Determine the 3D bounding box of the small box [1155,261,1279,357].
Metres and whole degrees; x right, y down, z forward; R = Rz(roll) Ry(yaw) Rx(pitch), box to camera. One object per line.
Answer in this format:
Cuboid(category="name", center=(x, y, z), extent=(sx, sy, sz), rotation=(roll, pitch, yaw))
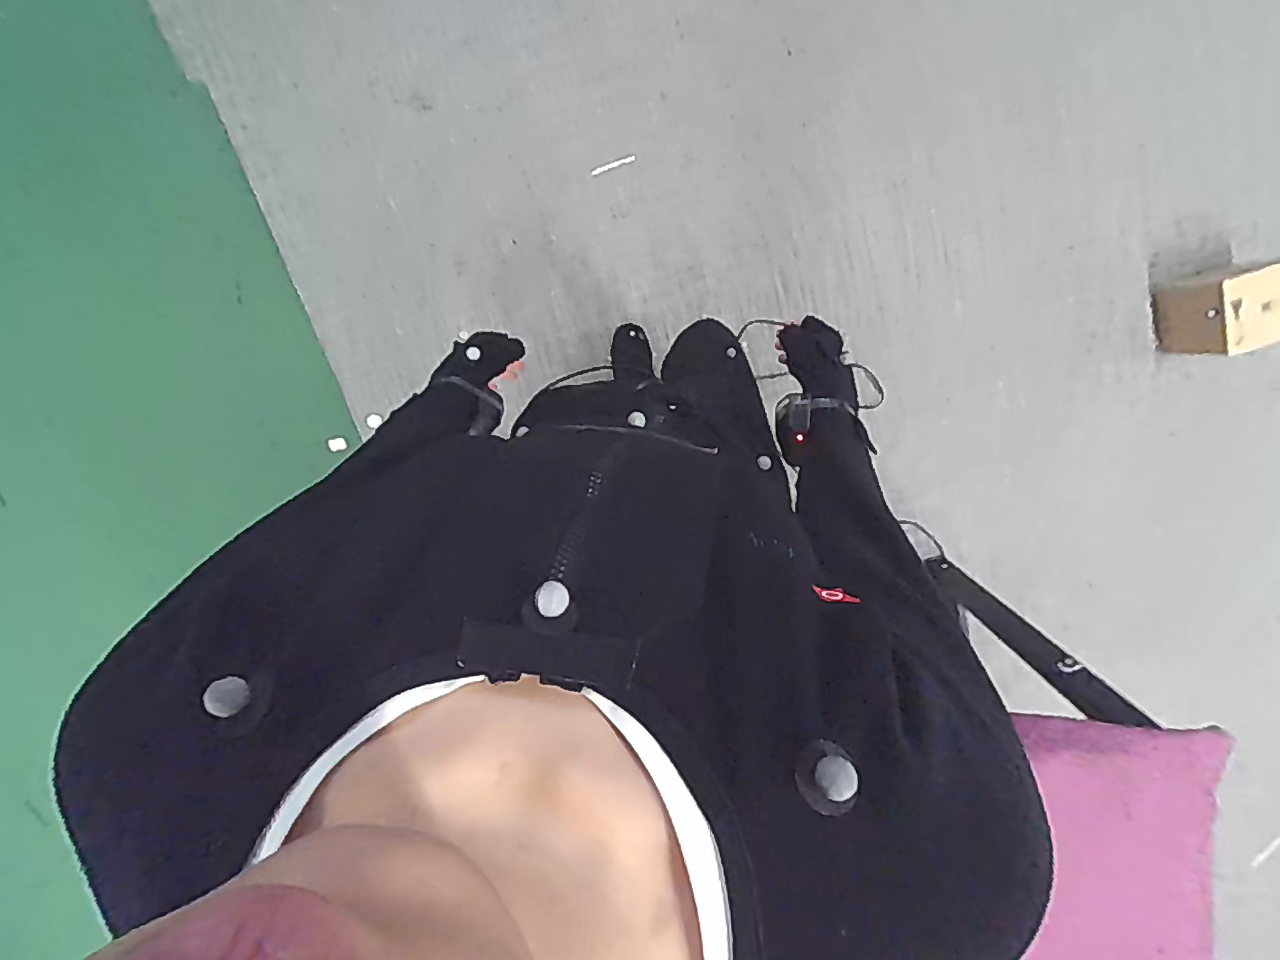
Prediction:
Cuboid(category="small box", center=(1.337, -0.388, 1.227), extent=(0.179, 0.176, 0.168), rotation=(-17, 103, 7))
